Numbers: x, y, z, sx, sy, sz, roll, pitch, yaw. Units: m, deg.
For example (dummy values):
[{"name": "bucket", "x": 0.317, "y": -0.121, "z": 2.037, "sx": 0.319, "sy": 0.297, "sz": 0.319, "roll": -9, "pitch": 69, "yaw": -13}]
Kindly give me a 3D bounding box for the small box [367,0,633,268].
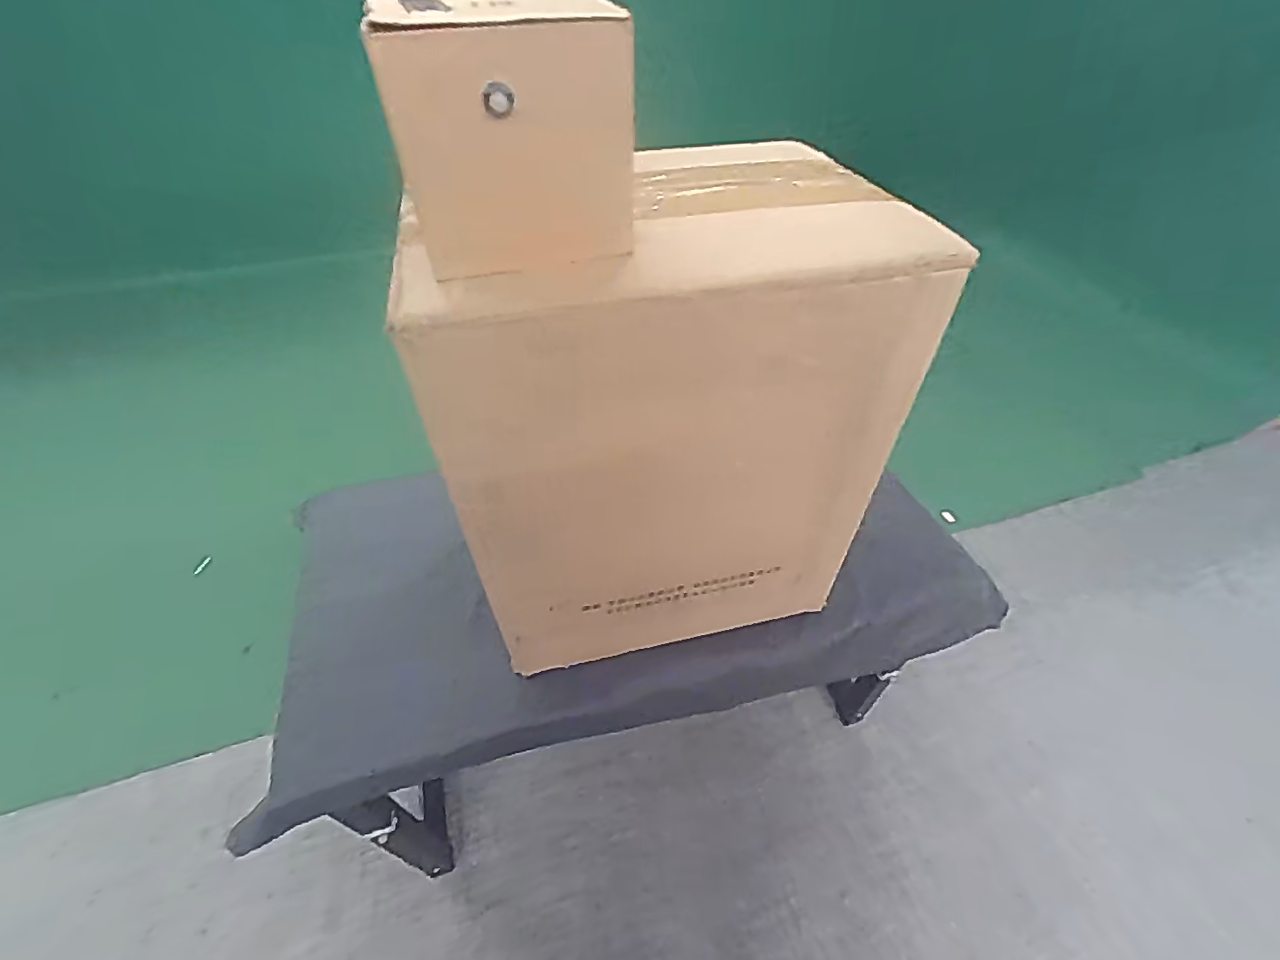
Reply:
[{"name": "small box", "x": -0.107, "y": -0.302, "z": 0.470, "sx": 0.179, "sy": 0.176, "sz": 0.168, "roll": -10, "pitch": 51, "yaw": -8}]
